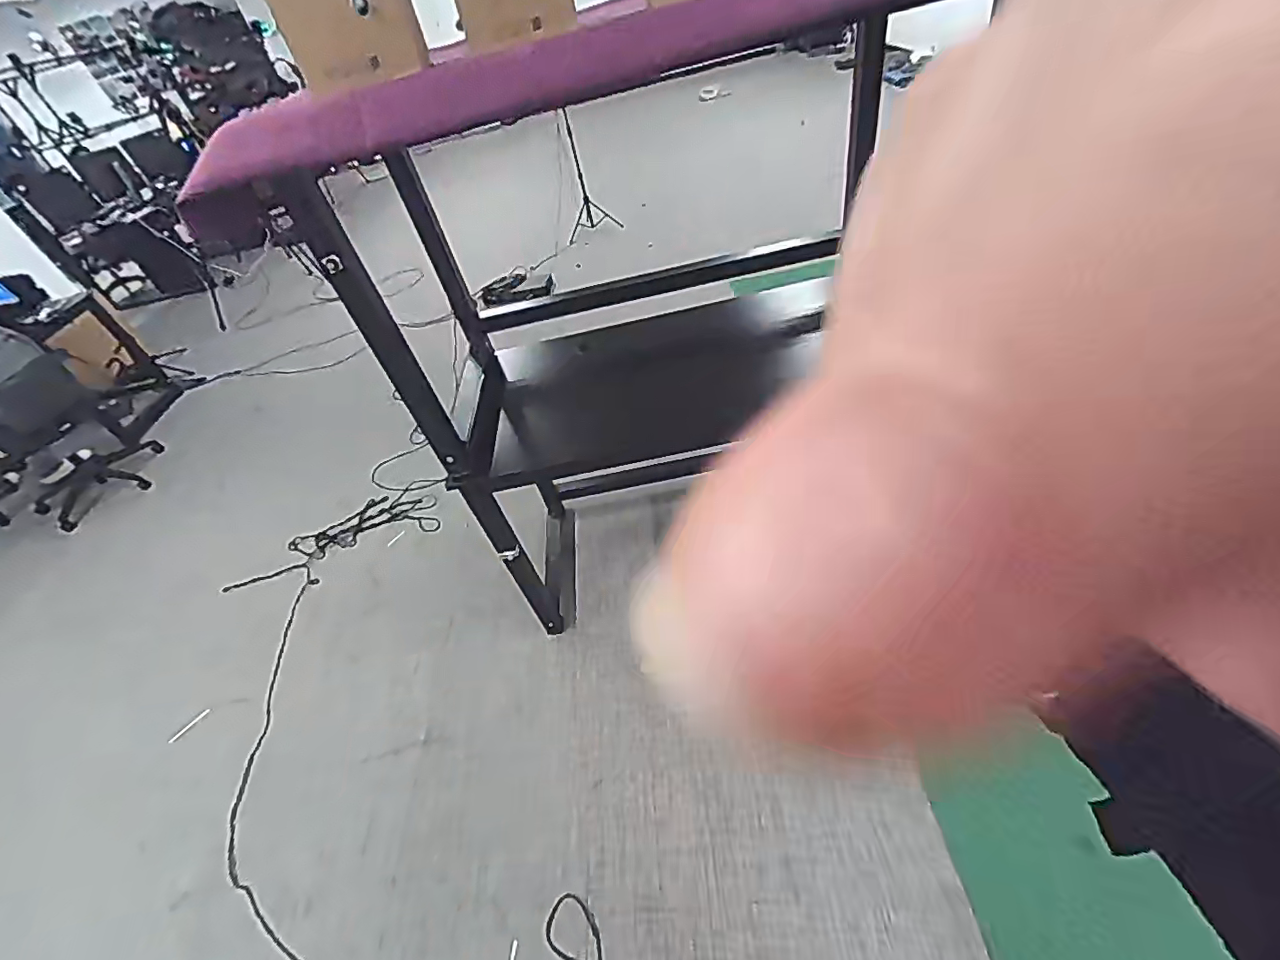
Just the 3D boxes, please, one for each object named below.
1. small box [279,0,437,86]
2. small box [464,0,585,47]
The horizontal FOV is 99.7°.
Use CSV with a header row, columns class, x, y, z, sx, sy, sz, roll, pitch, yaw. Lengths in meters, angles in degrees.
class,x,y,z,sx,sy,sz,roll,pitch,yaw
small box,-0.417,-0.703,0.797,0.168,0.176,0.179,-14,42,-1
small box,-0.182,-0.757,0.787,0.168,0.176,0.179,-13,43,1
